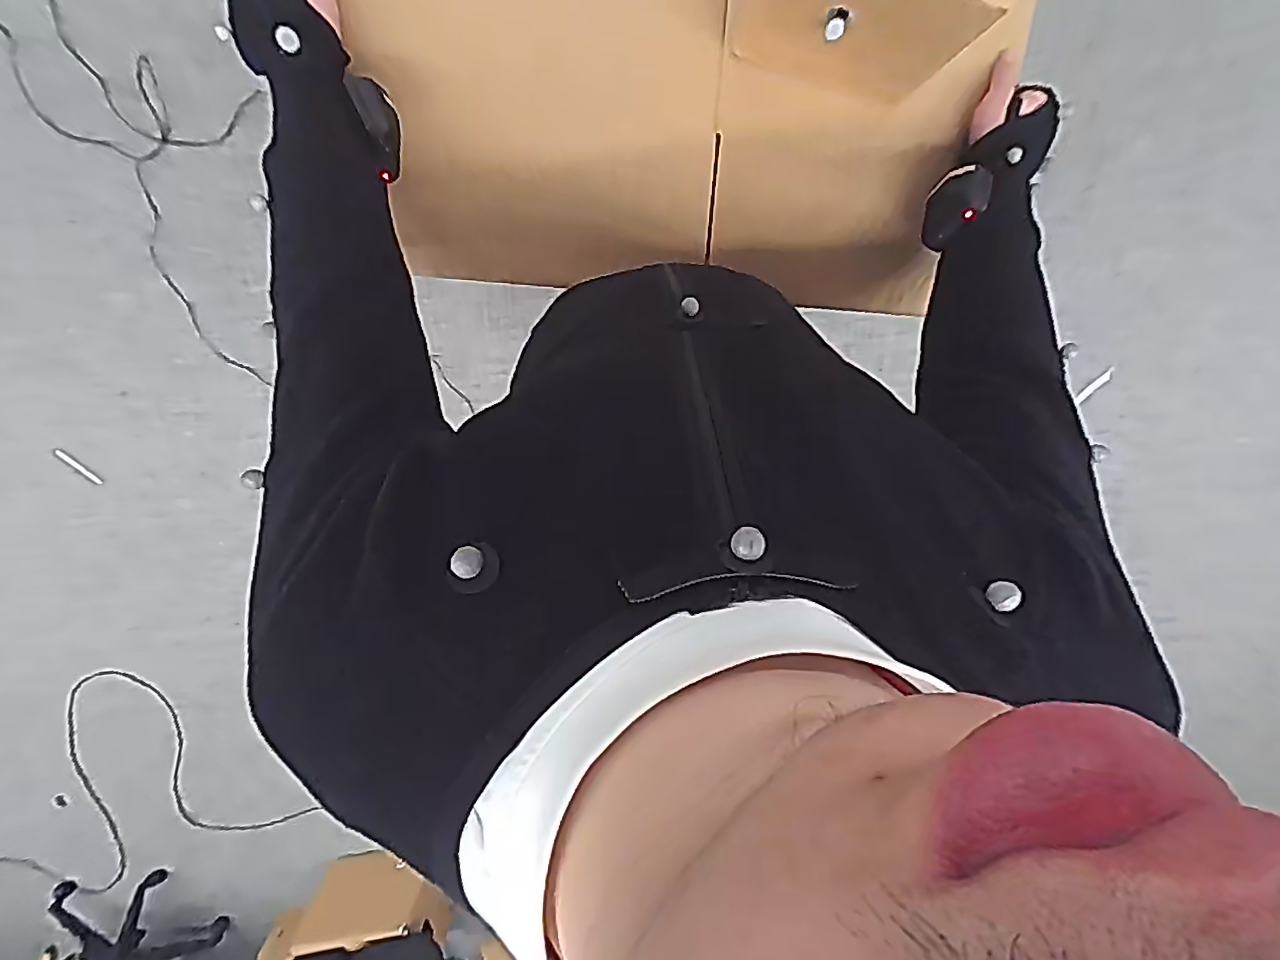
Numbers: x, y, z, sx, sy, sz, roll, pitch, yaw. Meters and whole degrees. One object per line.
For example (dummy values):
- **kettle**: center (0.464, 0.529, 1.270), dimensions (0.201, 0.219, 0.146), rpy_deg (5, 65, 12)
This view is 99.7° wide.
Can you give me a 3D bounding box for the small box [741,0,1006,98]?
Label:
- **small box**: center (0.197, -0.453, 0.441), dimensions (0.179, 0.176, 0.168), rpy_deg (14, 104, -5)
